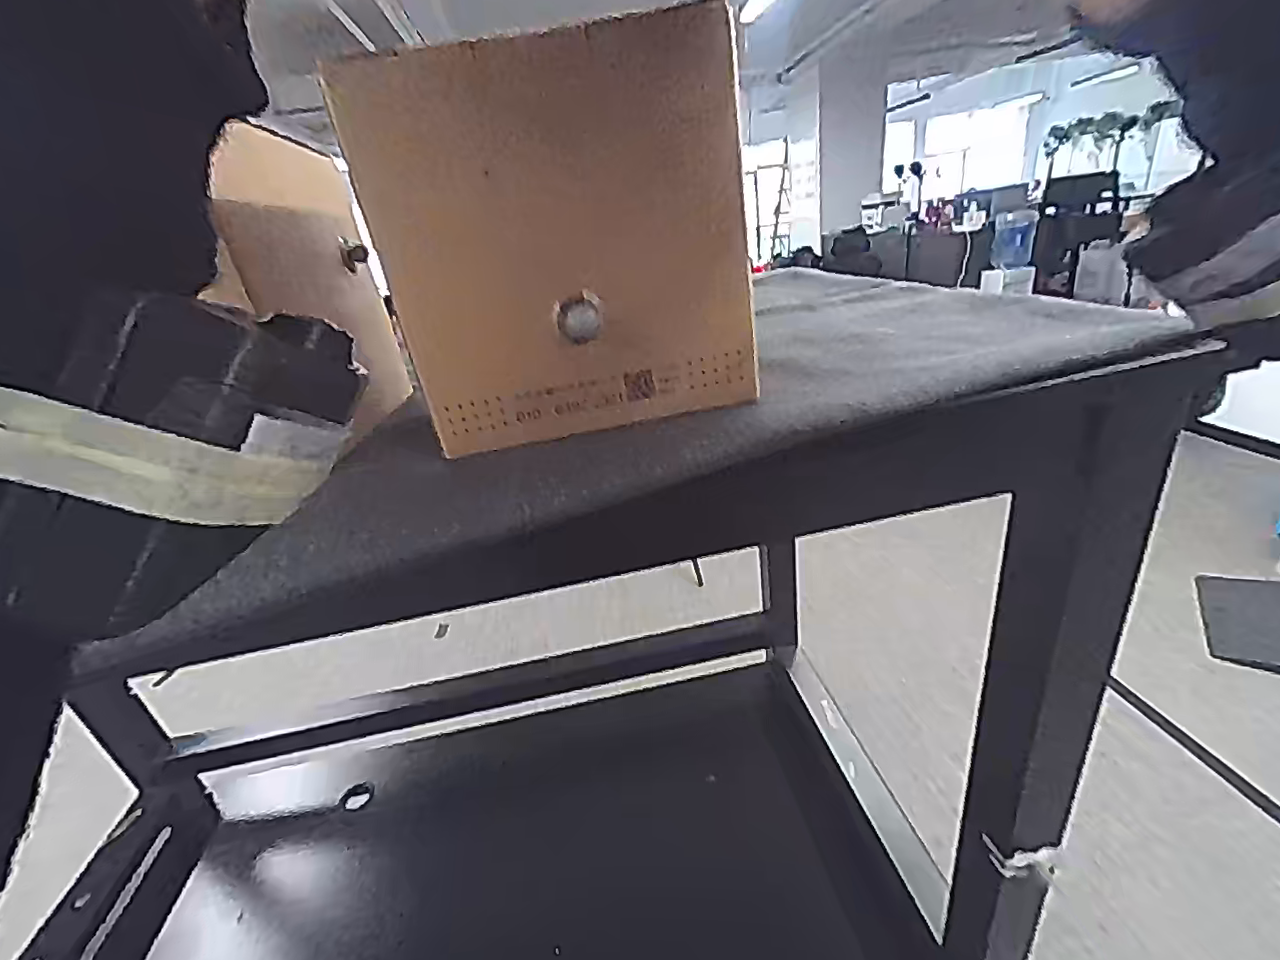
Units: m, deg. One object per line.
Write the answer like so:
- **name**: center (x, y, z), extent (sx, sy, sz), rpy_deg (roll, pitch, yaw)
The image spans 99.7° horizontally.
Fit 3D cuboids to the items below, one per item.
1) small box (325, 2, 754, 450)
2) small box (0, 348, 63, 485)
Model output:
- **small box**: center (-0.041, -0.132, 0.320), extent (0.168, 0.176, 0.179), rpy_deg (-12, 24, -3)
- **small box**: center (-0.514, -0.046, 0.306), extent (0.168, 0.176, 0.179), rpy_deg (-10, 23, -2)
